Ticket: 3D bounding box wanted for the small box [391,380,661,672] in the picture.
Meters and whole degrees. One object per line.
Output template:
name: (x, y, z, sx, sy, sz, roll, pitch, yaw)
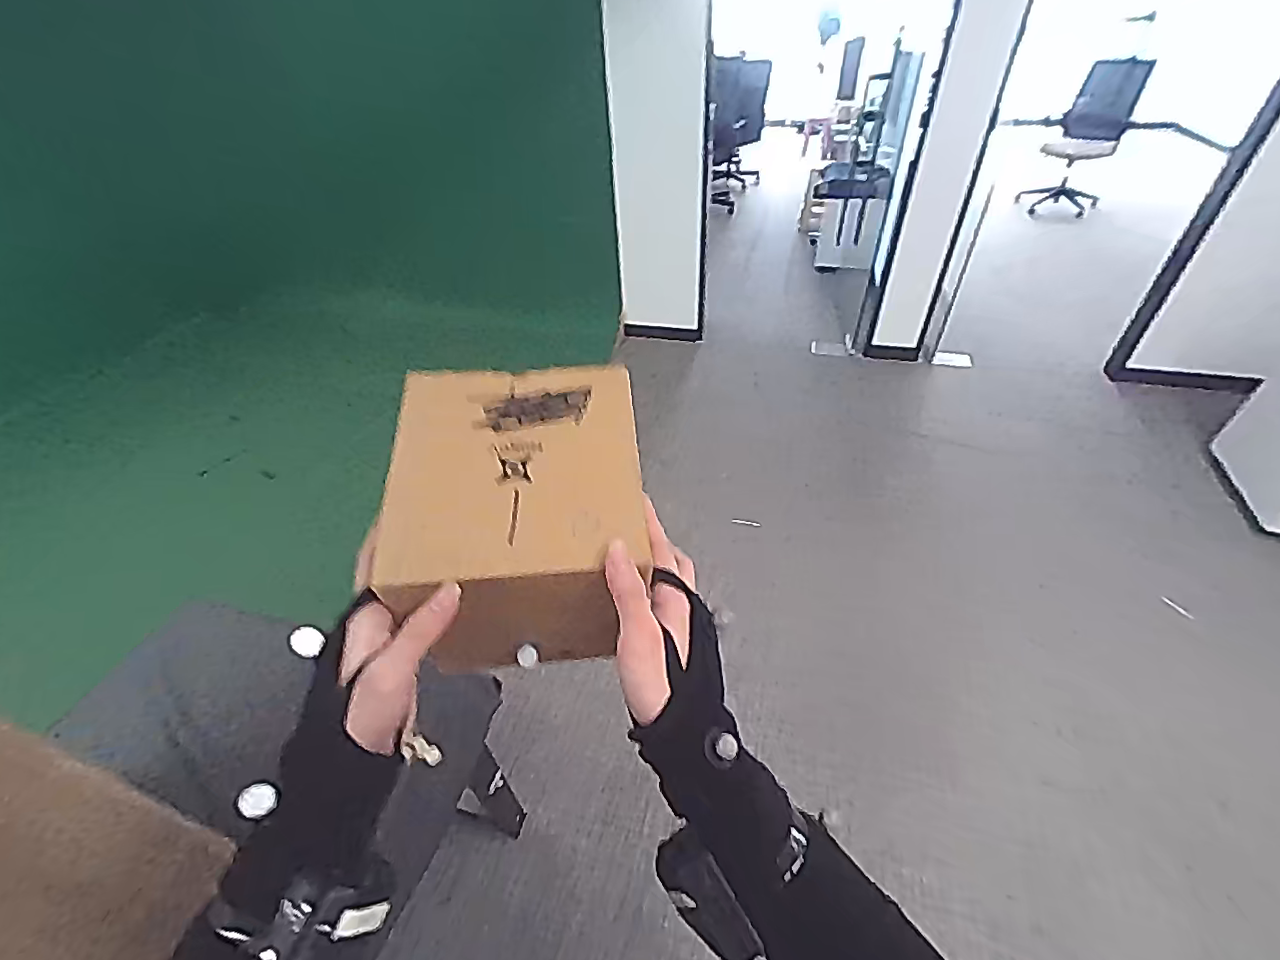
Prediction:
small box: (-0.079, 0.039, 0.440, 0.168, 0.176, 0.179, -2, 54, -5)
